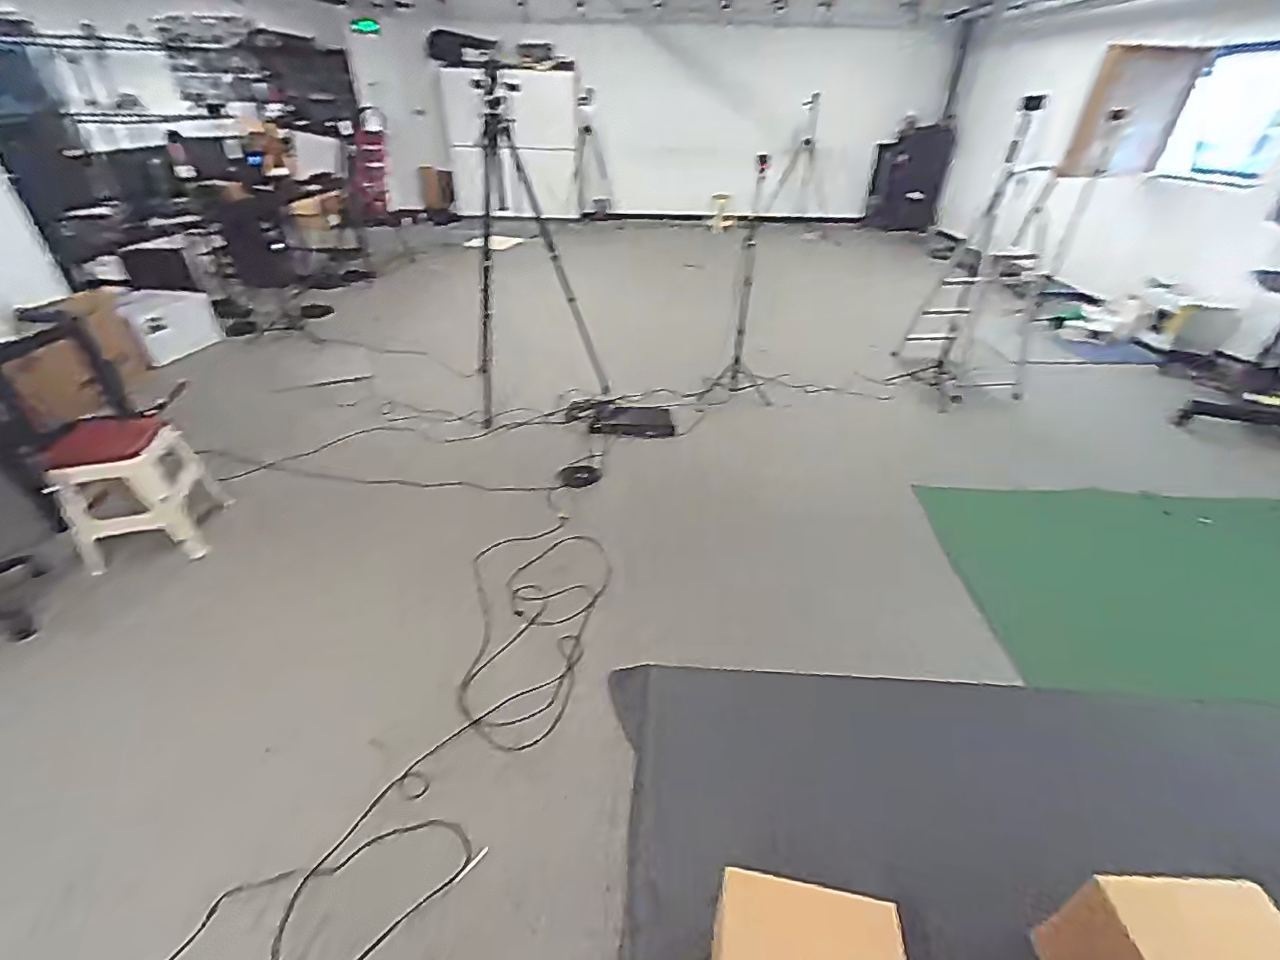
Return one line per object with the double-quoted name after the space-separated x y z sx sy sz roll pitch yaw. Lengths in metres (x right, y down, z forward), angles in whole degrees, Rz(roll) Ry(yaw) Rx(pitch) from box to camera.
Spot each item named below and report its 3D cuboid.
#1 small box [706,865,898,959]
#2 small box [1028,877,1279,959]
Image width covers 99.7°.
0.144 0.517 0.511 0.168 0.176 0.179 7 33 10 "small box"
0.534 0.527 0.529 0.168 0.176 0.179 2 35 0 "small box"
